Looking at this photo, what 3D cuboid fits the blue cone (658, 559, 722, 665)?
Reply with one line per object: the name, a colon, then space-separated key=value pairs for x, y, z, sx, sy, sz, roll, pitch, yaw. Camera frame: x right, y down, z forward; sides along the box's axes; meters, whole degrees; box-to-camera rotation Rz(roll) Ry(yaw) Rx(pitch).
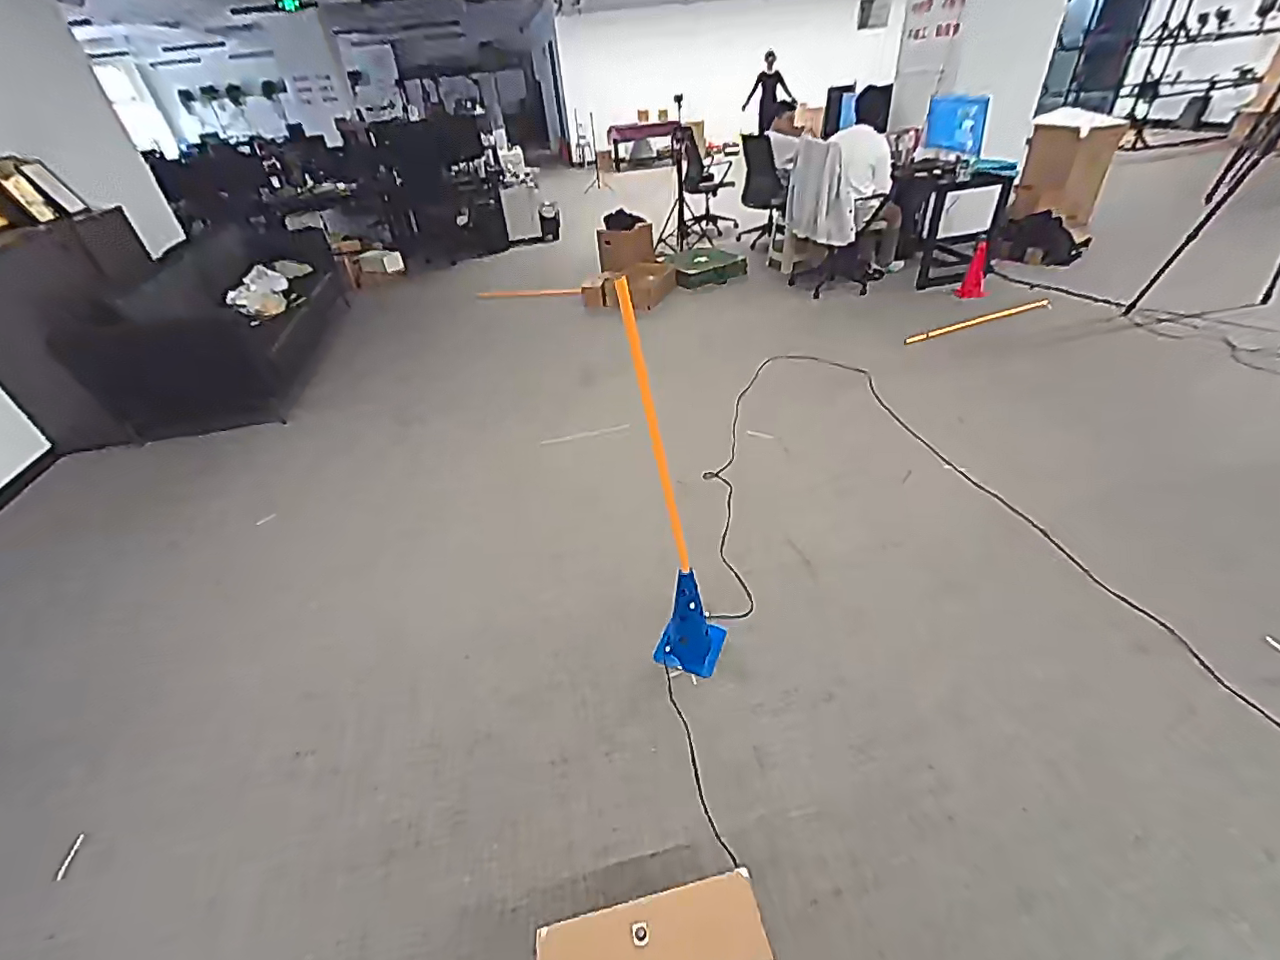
blue cone: x=0.150 y=0.390 z=1.681 sx=0.192 sy=0.380 sz=0.193 roll=9 pitch=41 yaw=20
